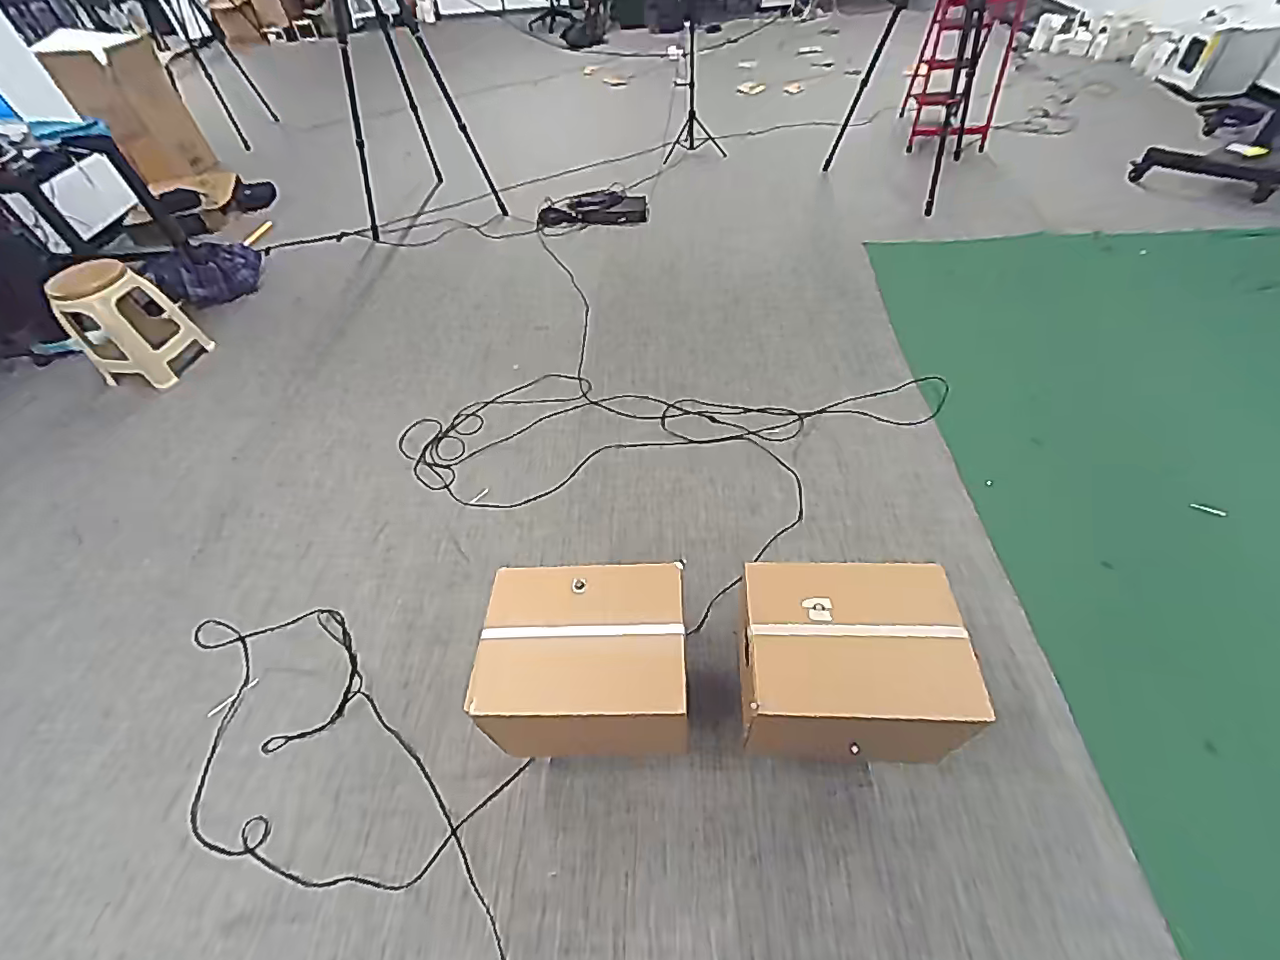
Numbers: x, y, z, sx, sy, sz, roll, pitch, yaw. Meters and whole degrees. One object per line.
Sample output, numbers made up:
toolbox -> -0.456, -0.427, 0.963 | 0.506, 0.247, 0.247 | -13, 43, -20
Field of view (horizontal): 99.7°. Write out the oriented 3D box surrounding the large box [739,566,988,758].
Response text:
large box -> 0.431, 0.396, 1.164 | 0.408, 0.320, 0.320 | -1, 50, 6
